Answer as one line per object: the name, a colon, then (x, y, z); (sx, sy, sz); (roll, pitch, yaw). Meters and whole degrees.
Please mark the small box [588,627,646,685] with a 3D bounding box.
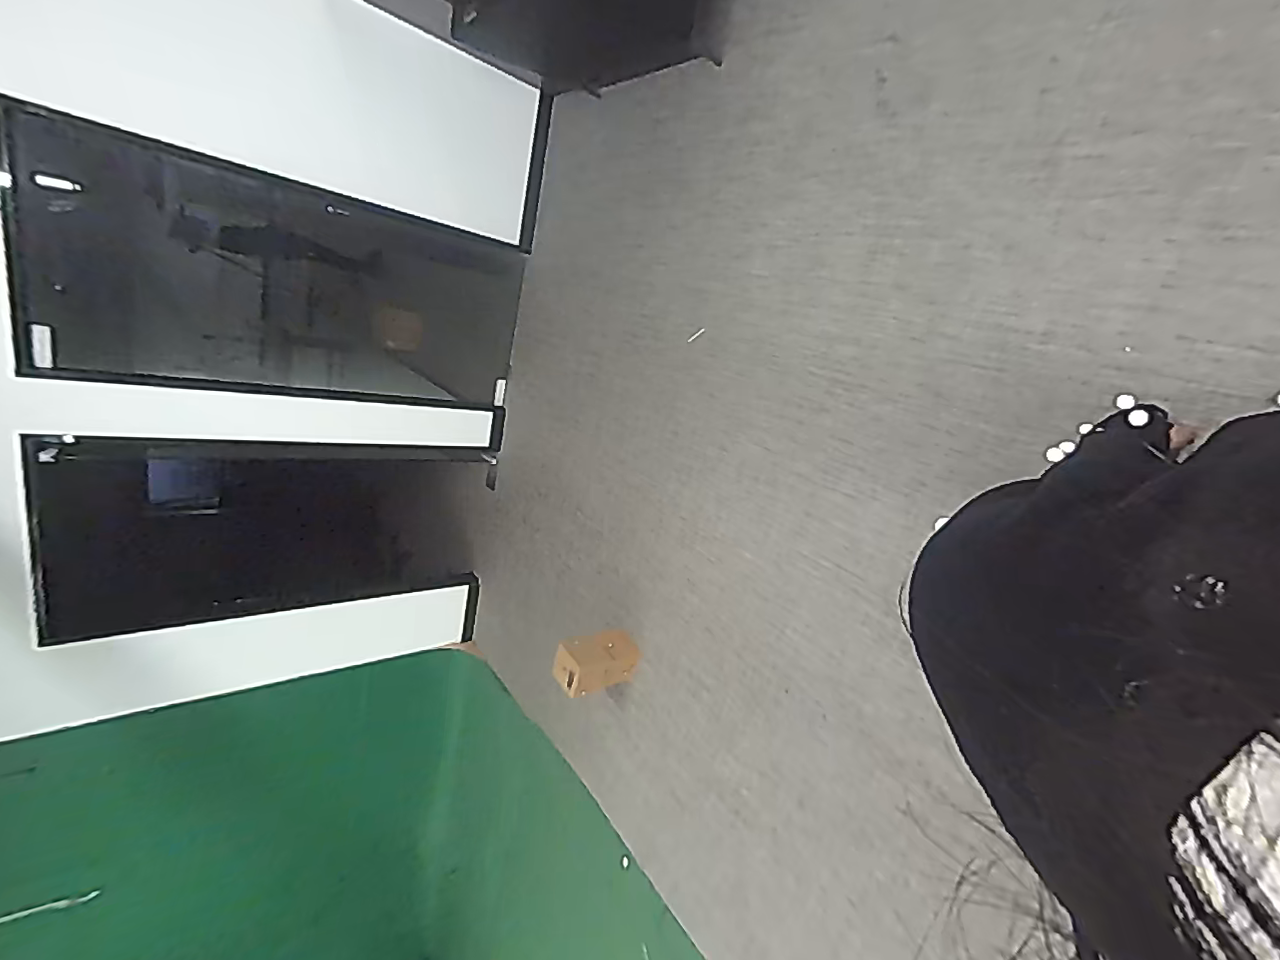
small box: (-0.102, 0.781, 2.427); (0.179, 0.176, 0.168); (42, 122, 39)
